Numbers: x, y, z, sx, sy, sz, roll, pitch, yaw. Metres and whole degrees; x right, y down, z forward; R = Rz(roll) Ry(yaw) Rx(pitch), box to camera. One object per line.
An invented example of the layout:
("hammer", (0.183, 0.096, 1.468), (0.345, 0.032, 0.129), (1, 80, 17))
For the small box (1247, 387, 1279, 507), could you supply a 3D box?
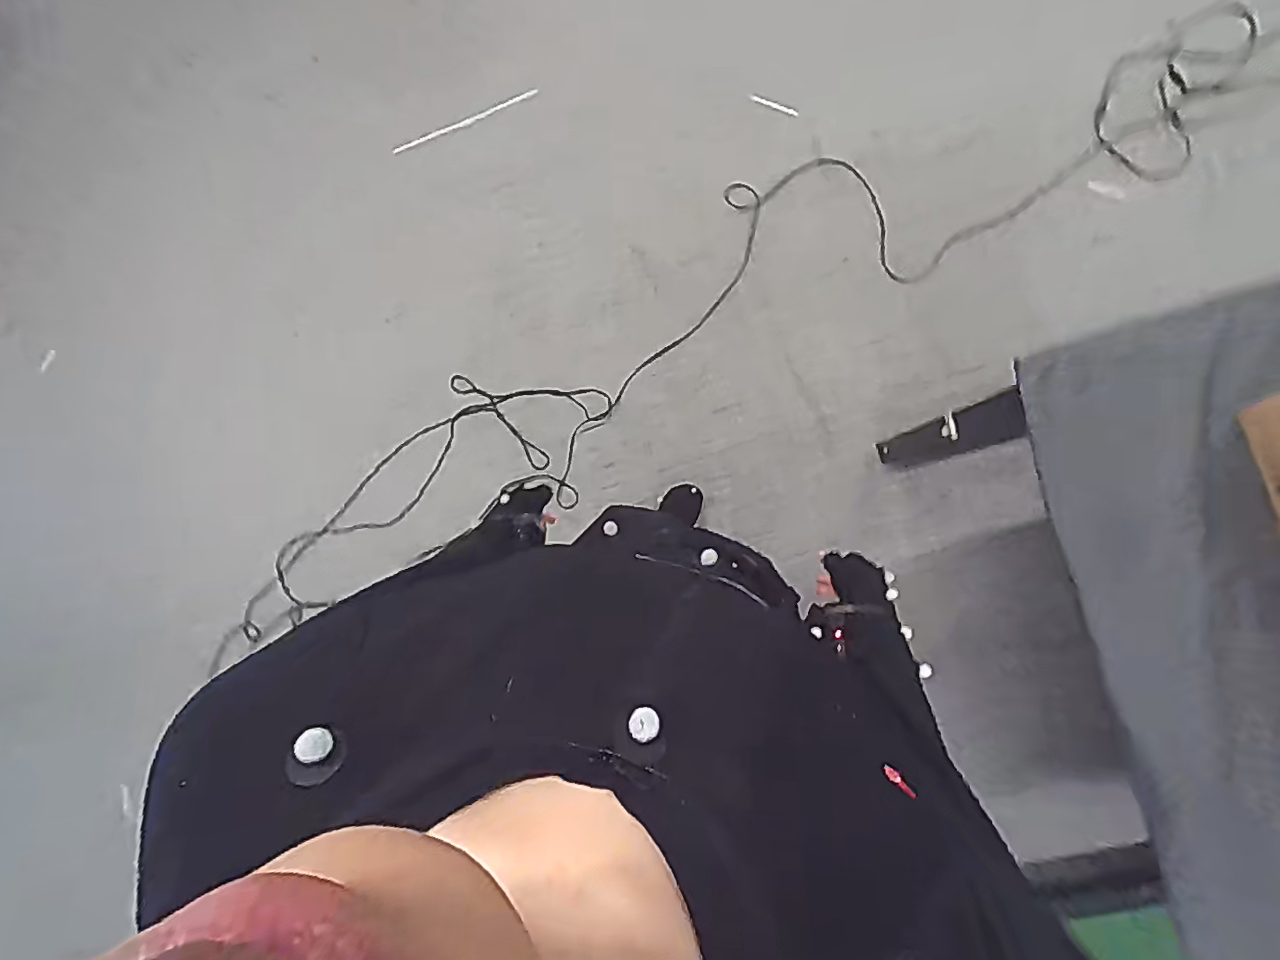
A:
("small box", (0.835, -0.051, 0.571), (0.179, 0.176, 0.168), (-17, 86, 6))
